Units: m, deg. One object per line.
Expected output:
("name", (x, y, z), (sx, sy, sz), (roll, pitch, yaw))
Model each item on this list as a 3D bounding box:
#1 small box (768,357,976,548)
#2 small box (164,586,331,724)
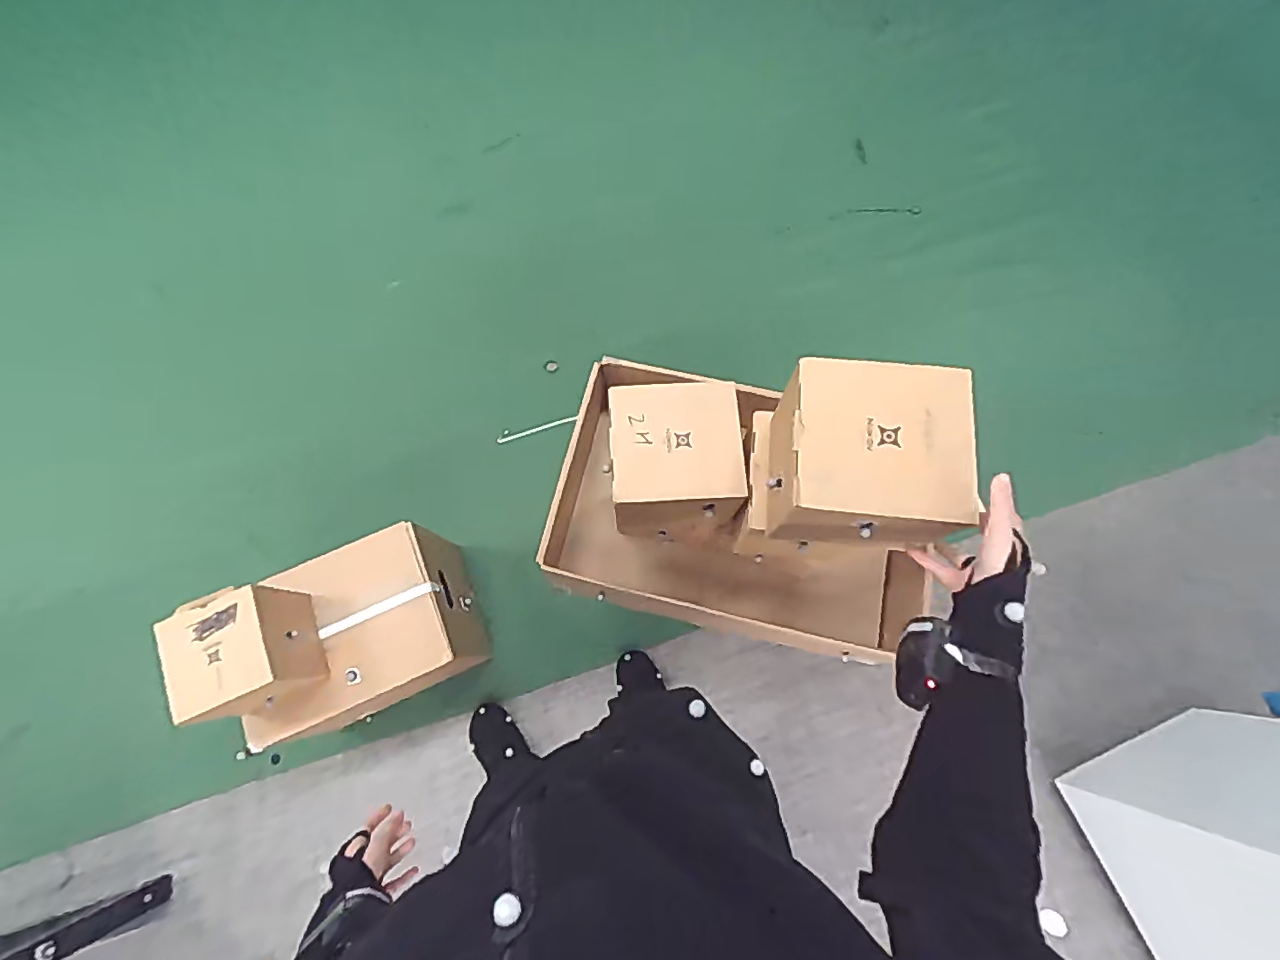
("small box", (0.247, -0.022, 0.617), (0.179, 0.176, 0.168), (6, 74, 5))
("small box", (-0.698, 0.313, 0.977), (0.168, 0.176, 0.179), (-24, 74, -6))
